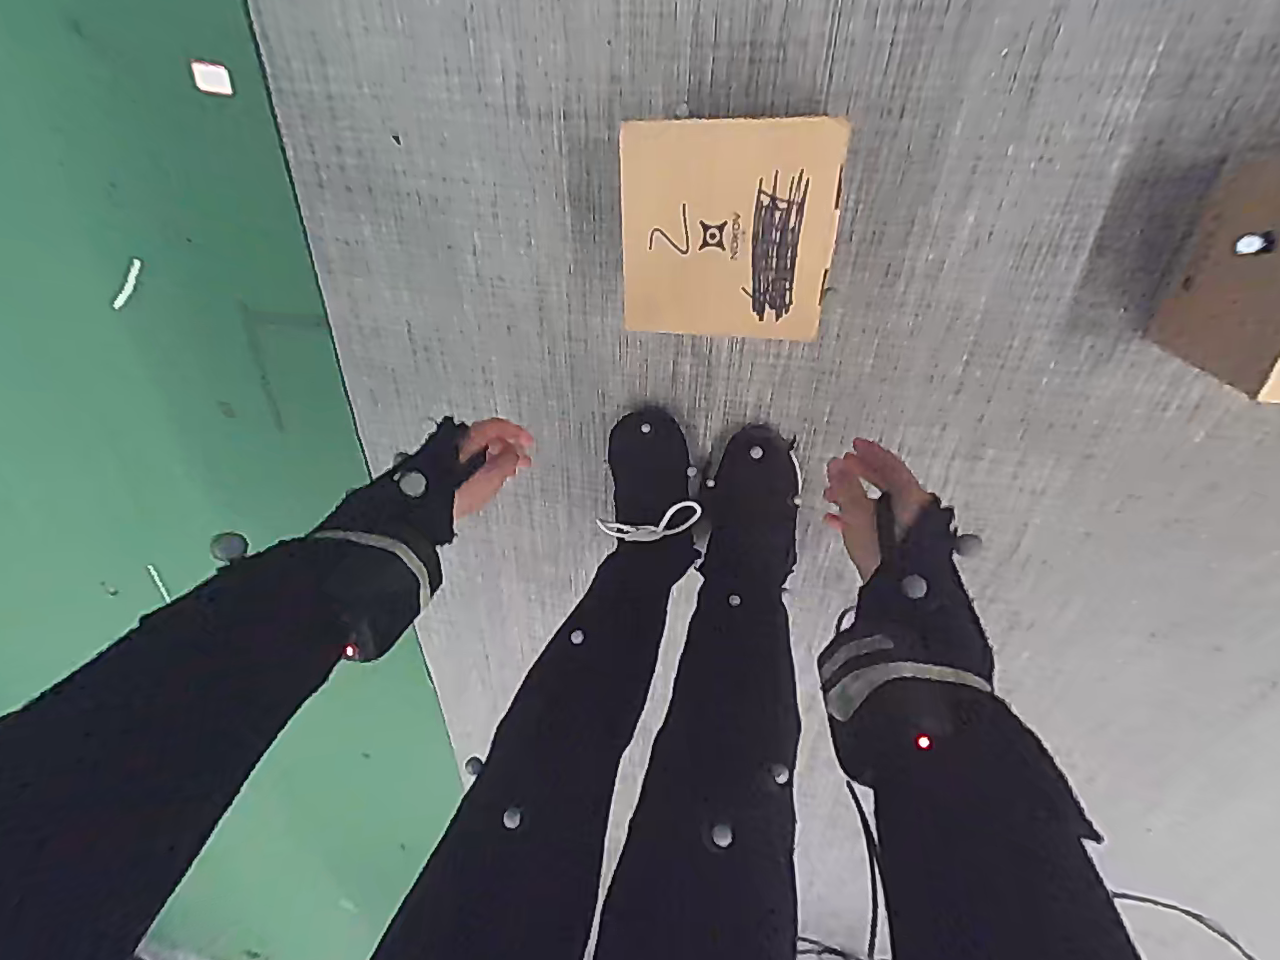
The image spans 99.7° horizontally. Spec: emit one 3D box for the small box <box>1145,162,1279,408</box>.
[{"bbox_3d":[0.570,-0.158,0.429,0.179,0.176,0.168,6,121,11],"label":"small box"}]
